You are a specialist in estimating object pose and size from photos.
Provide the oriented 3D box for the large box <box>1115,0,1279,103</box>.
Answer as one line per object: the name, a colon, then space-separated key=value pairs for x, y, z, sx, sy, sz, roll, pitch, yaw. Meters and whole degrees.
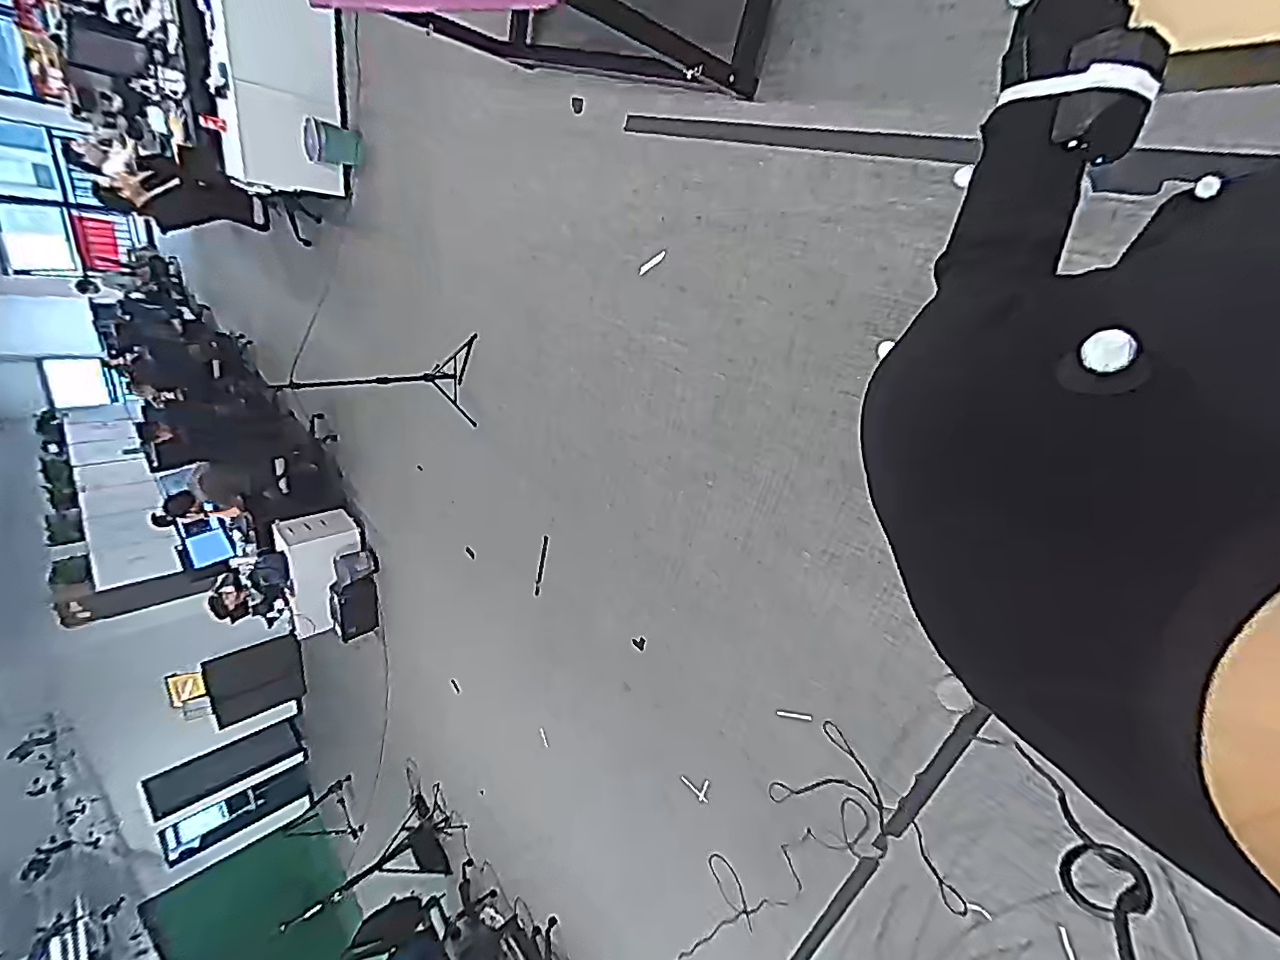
large box: x=0.578 y=-0.427 z=0.298 sx=0.408 sy=0.320 sz=0.320 roll=22 pitch=127 yaw=36
